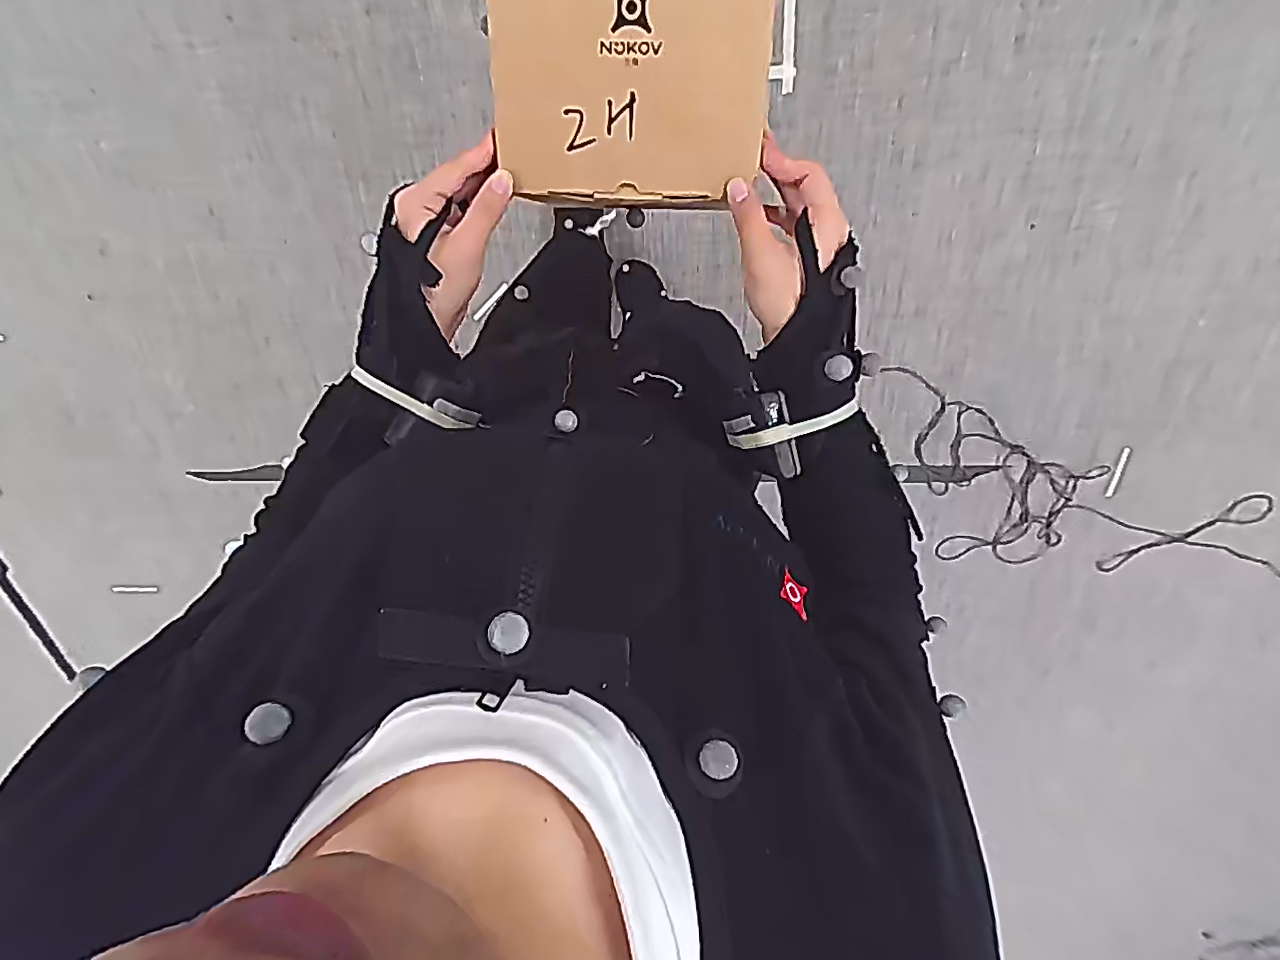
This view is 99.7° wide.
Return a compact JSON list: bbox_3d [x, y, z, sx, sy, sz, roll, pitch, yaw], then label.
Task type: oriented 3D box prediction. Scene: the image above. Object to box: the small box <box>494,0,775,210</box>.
[{"bbox_3d":[-0.001,-0.299,0.390,0.168,0.176,0.179,3,115,2],"label":"small box"}]
